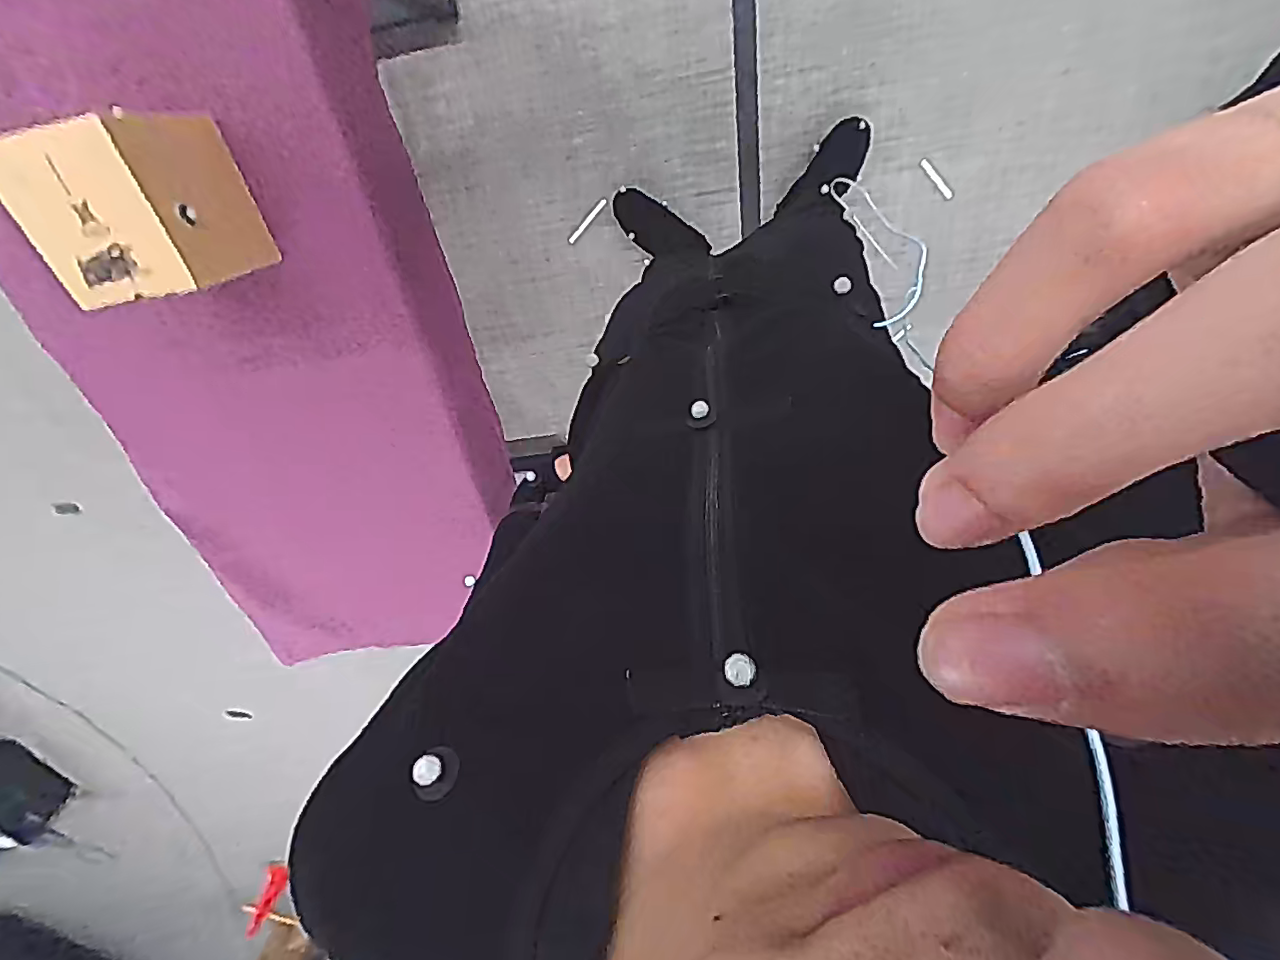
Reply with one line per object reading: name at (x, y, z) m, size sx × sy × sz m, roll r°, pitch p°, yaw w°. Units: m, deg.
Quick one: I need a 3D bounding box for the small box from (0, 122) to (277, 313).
small box at (-0.603, -0.326, 0.669) m, size 0.168 × 0.176 × 0.179 m, roll -7°, pitch 122°, yaw 8°
